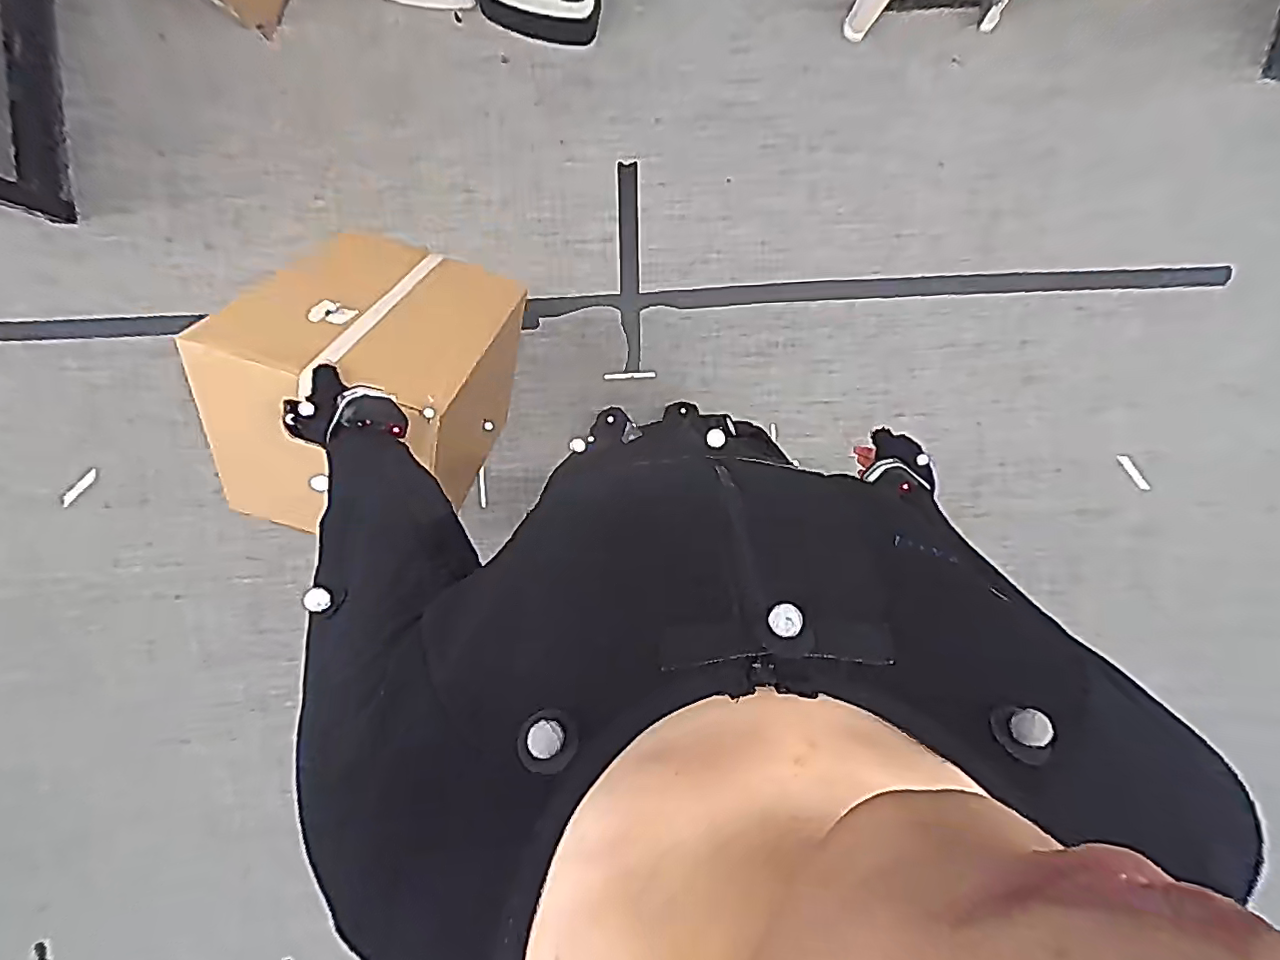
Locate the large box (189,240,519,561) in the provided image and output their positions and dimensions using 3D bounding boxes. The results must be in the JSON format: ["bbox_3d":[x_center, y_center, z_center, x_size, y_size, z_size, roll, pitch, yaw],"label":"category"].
[{"bbox_3d":[-0.423,-0.140,0.911,0.320,0.408,0.320,16,133,-5],"label":"large box"}]
